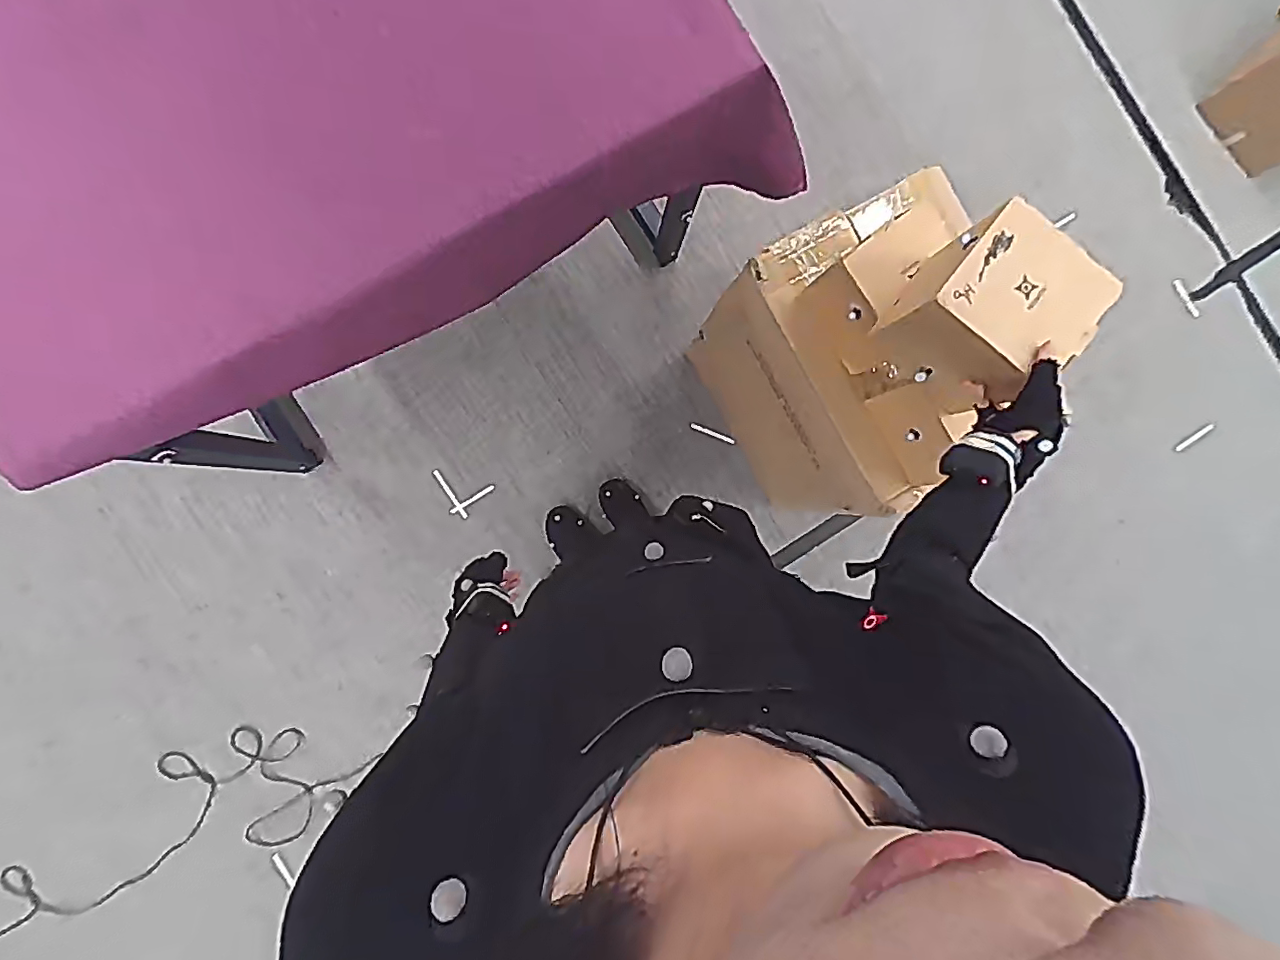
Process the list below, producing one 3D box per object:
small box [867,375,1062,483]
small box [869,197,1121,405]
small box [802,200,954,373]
[{"bbox_3d":[0.510,-0.106,0.875,0.168,0.176,0.179,-30,89,-6],"label":"small box"},{"bbox_3d":[0.448,-0.216,0.710,0.179,0.176,0.168,39,86,-2],"label":"small box"},{"bbox_3d":[0.395,-0.298,0.873,0.168,0.176,0.179,-35,93,-5],"label":"small box"}]
